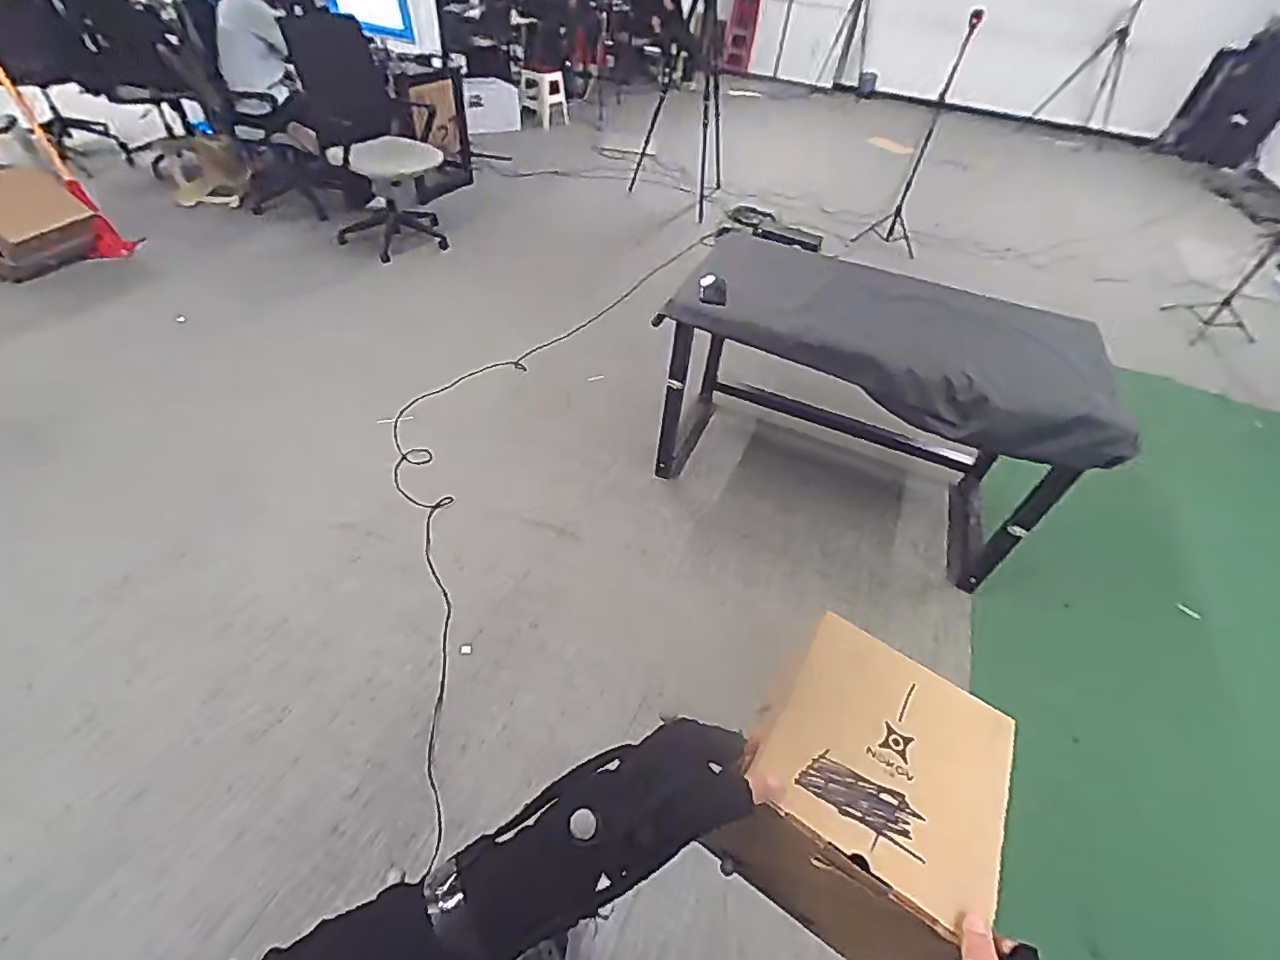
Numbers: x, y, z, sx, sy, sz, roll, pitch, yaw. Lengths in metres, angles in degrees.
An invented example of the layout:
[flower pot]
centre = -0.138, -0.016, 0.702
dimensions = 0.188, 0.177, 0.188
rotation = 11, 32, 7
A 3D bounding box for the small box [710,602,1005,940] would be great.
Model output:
[small box]
centre = 0.176, 0.251, 0.470
dimensions = 0.168, 0.176, 0.179
rotation = 30, 47, 16
